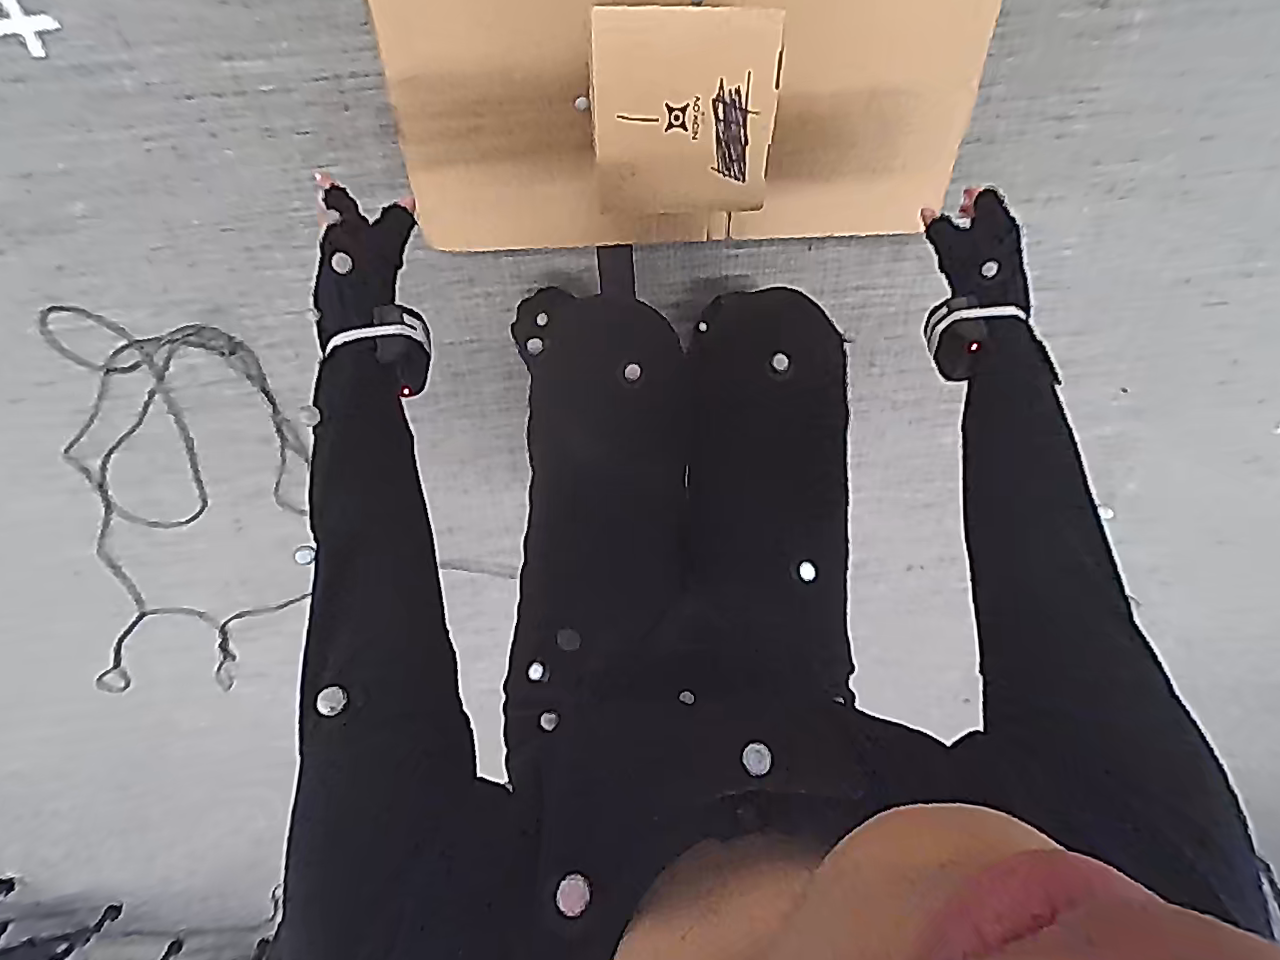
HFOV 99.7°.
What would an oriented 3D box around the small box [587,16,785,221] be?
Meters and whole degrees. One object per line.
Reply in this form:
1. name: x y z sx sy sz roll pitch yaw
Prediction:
1. small box: 0.036 -0.387 0.584 0.179 0.176 0.168 -3 127 -4
